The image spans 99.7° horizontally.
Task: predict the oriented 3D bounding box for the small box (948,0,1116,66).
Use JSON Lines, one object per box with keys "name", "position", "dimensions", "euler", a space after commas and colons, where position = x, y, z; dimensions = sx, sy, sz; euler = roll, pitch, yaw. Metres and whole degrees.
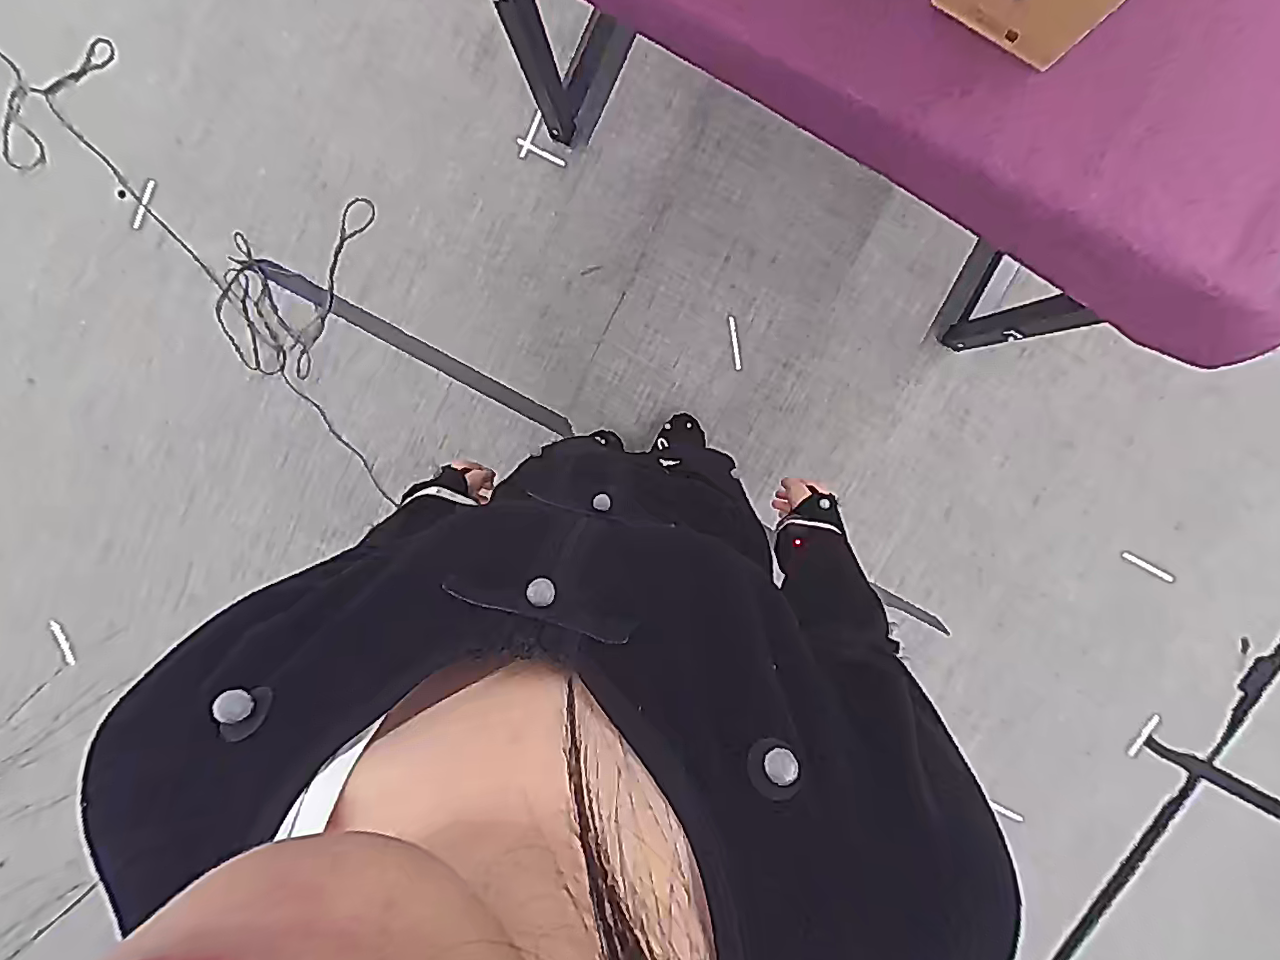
{"name": "small box", "position": [0.464, -0.603, 0.574], "dimensions": [0.168, 0.176, 0.179], "euler": [31, 97, -2]}
